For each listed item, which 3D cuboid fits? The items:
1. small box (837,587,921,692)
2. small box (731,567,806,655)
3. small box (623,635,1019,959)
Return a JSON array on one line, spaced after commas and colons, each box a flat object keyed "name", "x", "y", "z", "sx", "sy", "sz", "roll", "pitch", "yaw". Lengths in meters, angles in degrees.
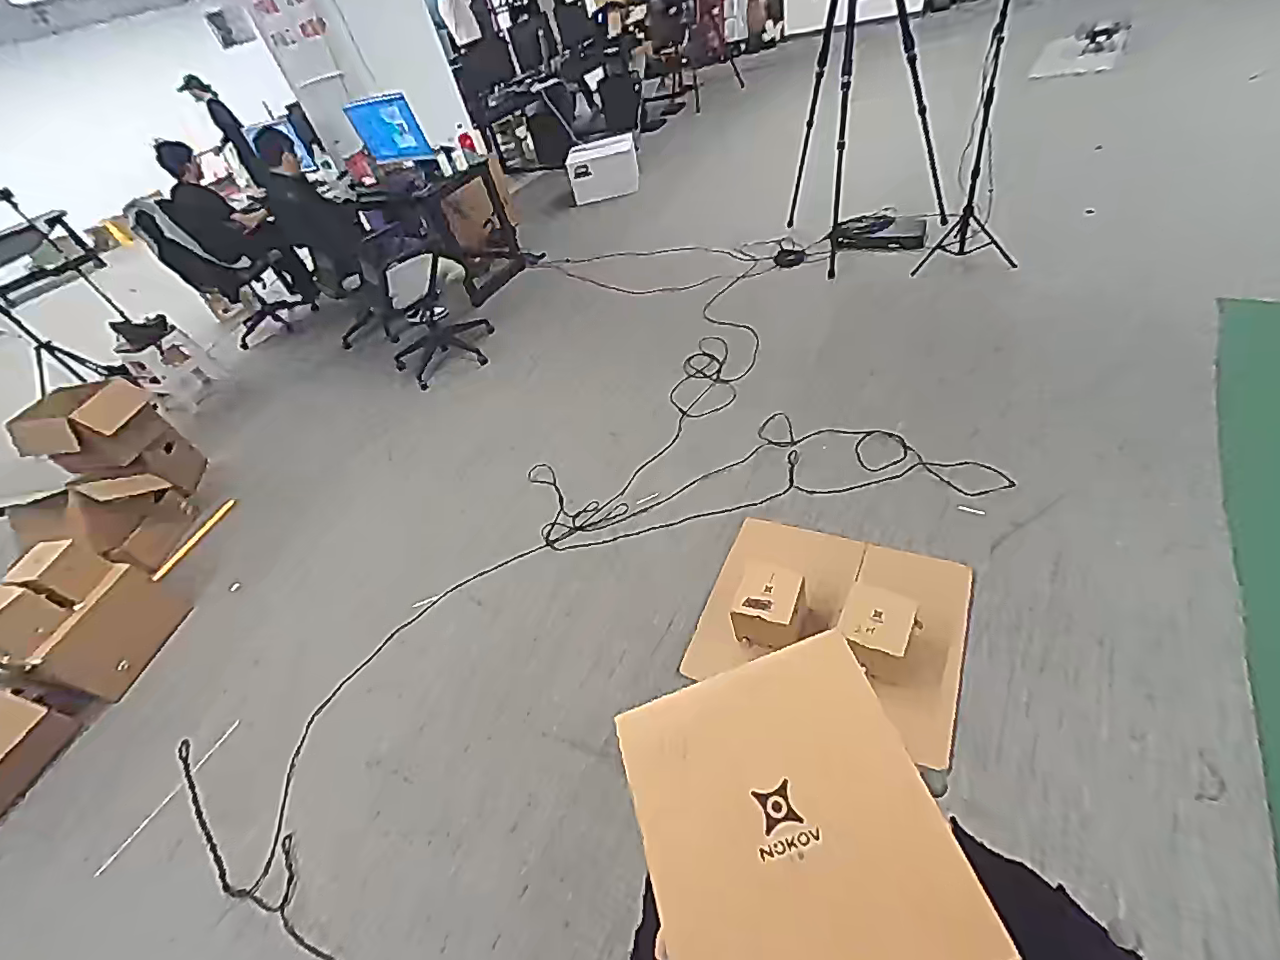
[{"name": "small box", "x": 0.623, "y": 0.420, "z": 1.425, "sx": 0.168, "sy": 0.176, "sz": 0.179, "roll": 14, "pitch": 53, "yaw": 32}, {"name": "small box", "x": 0.373, "y": 0.381, "z": 1.546, "sx": 0.168, "sy": 0.176, "sz": 0.179, "roll": 9, "pitch": 49, "yaw": 27}, {"name": "small box", "x": 0.105, "y": 0.241, "z": 0.374, "sx": 0.168, "sy": 0.176, "sz": 0.179, "roll": -23, "pitch": 51, "yaw": 3}]
